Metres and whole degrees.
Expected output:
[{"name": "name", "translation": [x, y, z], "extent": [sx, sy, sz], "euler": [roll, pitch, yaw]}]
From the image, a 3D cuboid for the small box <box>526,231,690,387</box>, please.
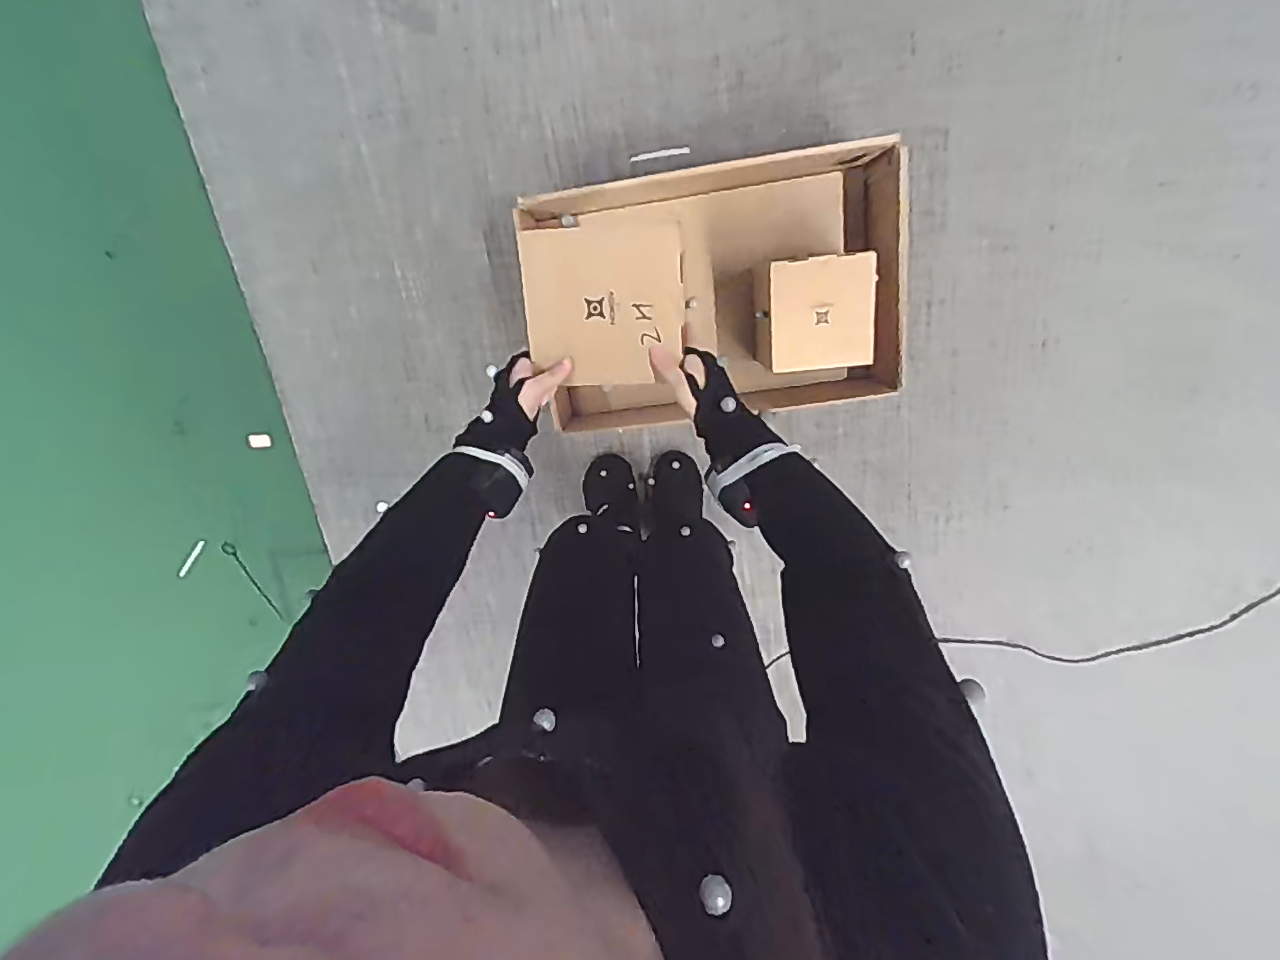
[{"name": "small box", "translation": [-0.028, -0.210, 0.673], "extent": [0.179, 0.176, 0.168], "euler": [1, 110, 6]}]
